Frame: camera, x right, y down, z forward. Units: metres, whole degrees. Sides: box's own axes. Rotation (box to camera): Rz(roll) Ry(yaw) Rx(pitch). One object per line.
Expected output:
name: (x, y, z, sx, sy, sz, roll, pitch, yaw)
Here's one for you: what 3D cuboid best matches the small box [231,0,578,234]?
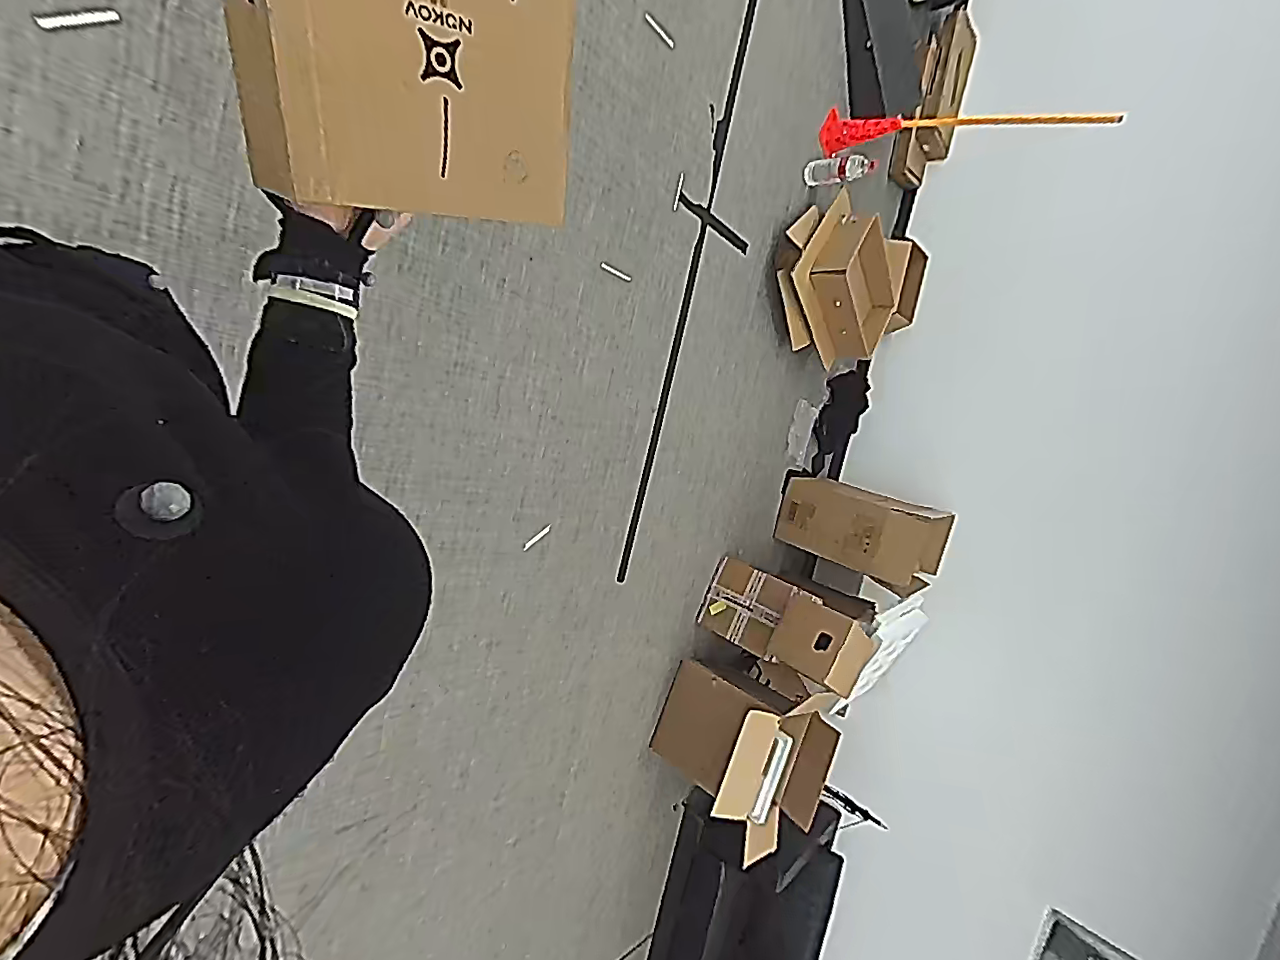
small box: (-0.159, -0.274, 0.360, 0.168, 0.176, 0.179, -14, 124, -37)
